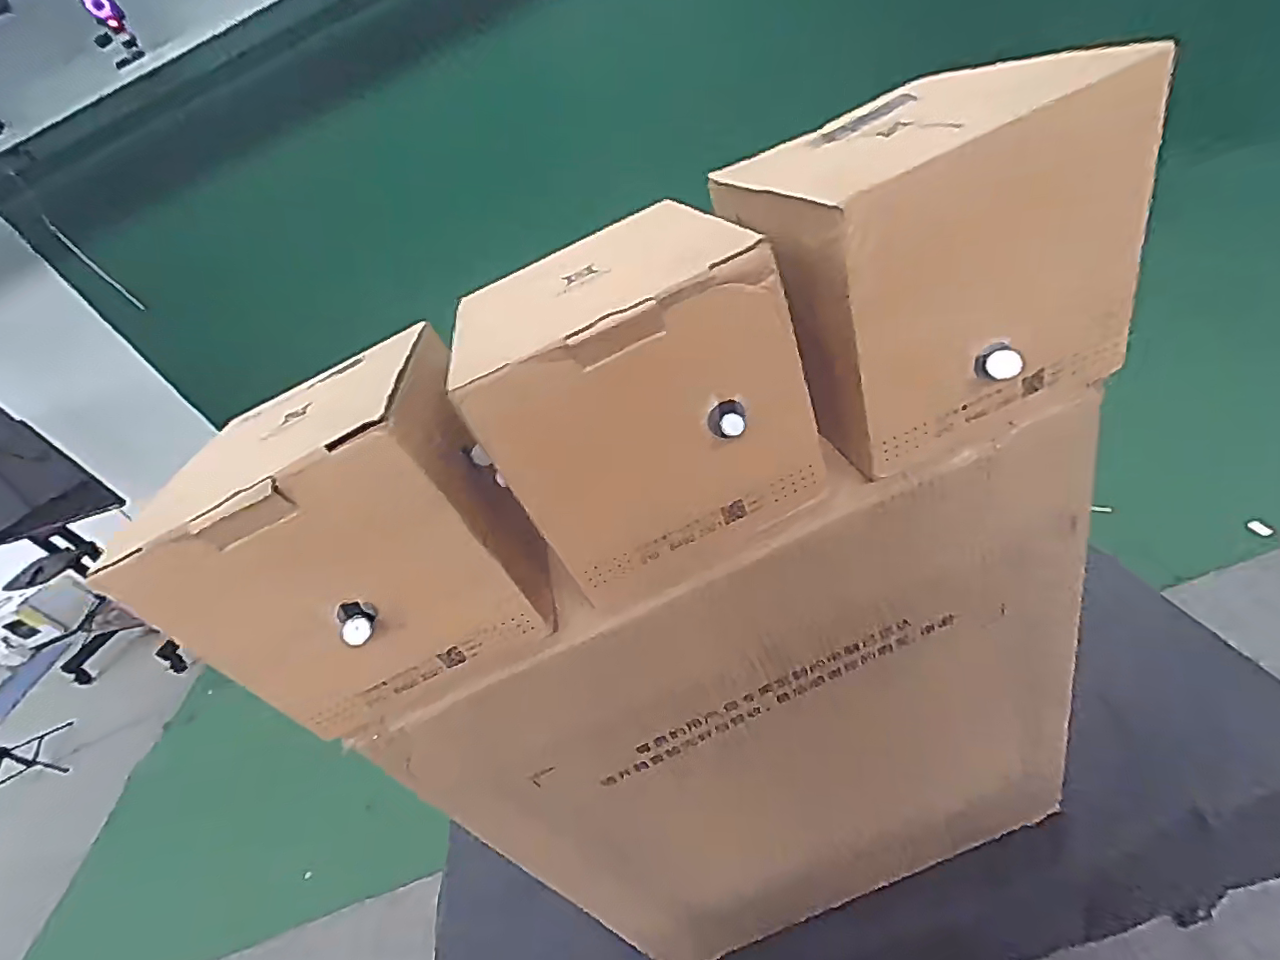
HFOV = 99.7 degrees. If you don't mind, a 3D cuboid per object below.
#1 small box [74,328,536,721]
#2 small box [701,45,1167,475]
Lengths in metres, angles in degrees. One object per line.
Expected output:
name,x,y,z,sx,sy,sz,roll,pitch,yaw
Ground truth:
small box,-0.182,0.032,0.364,0.168,0.176,0.179,-26,35,3
small box,0.159,-0.133,0.344,0.168,0.176,0.179,-25,35,2
